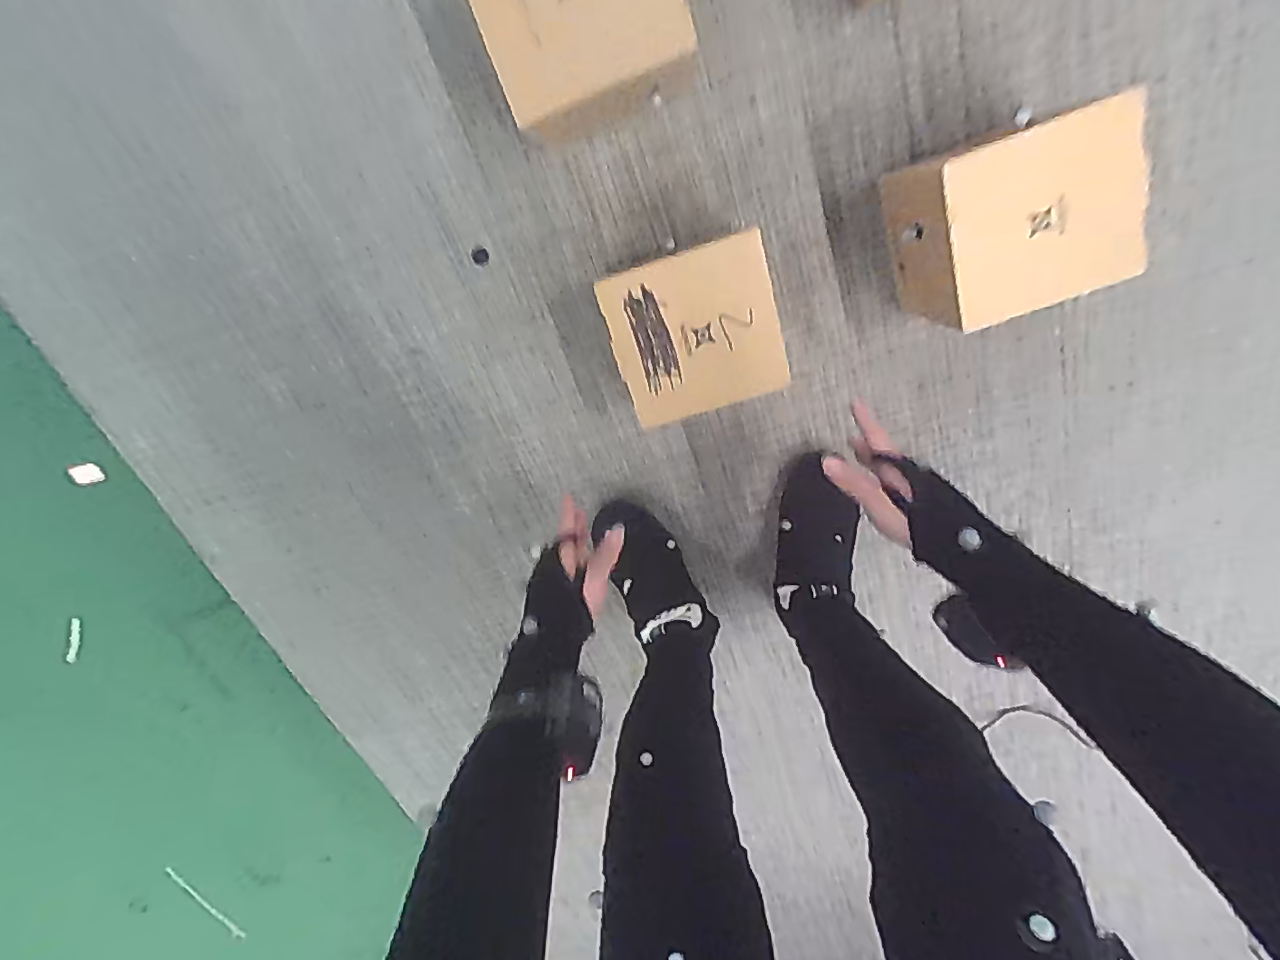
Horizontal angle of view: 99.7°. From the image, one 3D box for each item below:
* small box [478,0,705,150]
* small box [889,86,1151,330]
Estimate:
[{"bbox_3d":[-0.048,-0.450,0.525,0.179,0.176,0.168,-17,112,10],"label":"small box"},{"bbox_3d":[0.391,-0.279,0.586,0.179,0.176,0.168,-19,112,9],"label":"small box"}]
